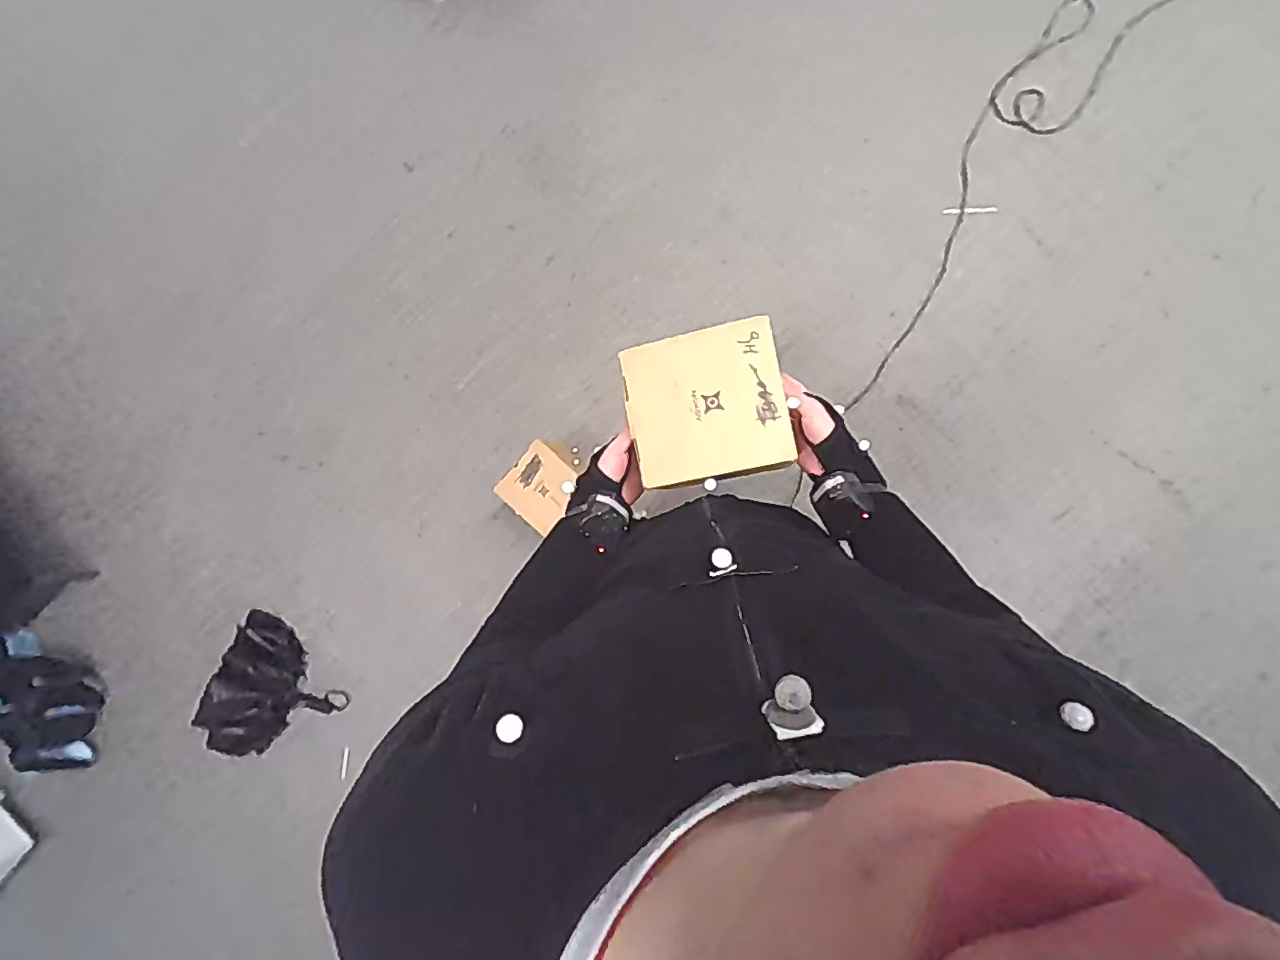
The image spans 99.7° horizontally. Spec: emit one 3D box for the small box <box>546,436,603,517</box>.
[{"bbox_3d":[-0.227,-0.003,1.515,0.179,0.176,0.168,42,95,2],"label":"small box"}]

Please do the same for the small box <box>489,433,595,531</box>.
[{"bbox_3d":[-0.238,0.006,1.351,0.179,0.176,0.168,42,95,3],"label":"small box"}]
